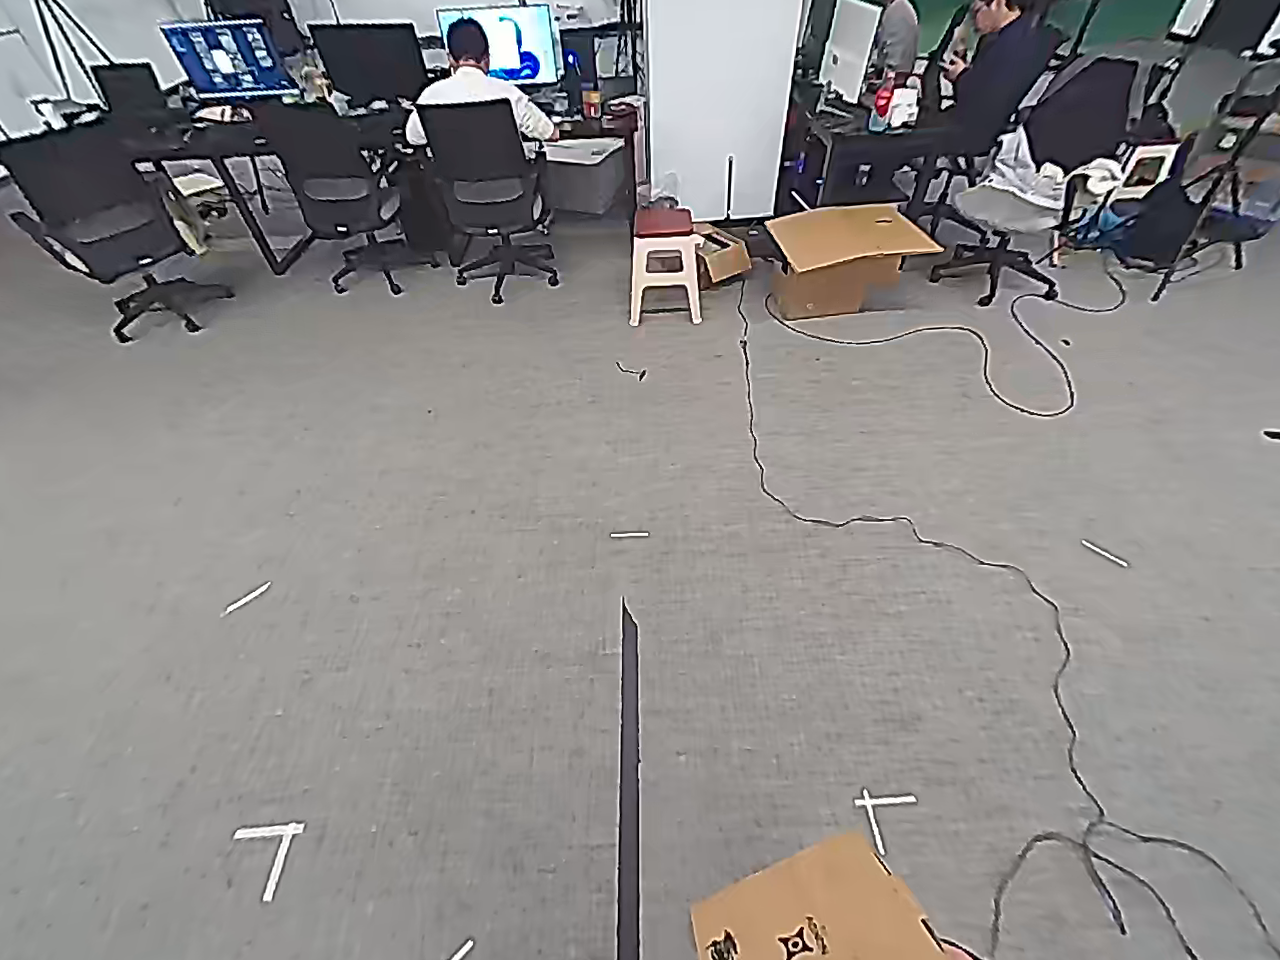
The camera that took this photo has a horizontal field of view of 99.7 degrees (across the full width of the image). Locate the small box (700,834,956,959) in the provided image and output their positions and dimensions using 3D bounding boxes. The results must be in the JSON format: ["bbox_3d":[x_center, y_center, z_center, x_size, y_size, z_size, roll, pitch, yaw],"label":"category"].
[{"bbox_3d":[0.168,0.445,0.435,0.179,0.168,0.176,-22,90,-3],"label":"small box"}]
